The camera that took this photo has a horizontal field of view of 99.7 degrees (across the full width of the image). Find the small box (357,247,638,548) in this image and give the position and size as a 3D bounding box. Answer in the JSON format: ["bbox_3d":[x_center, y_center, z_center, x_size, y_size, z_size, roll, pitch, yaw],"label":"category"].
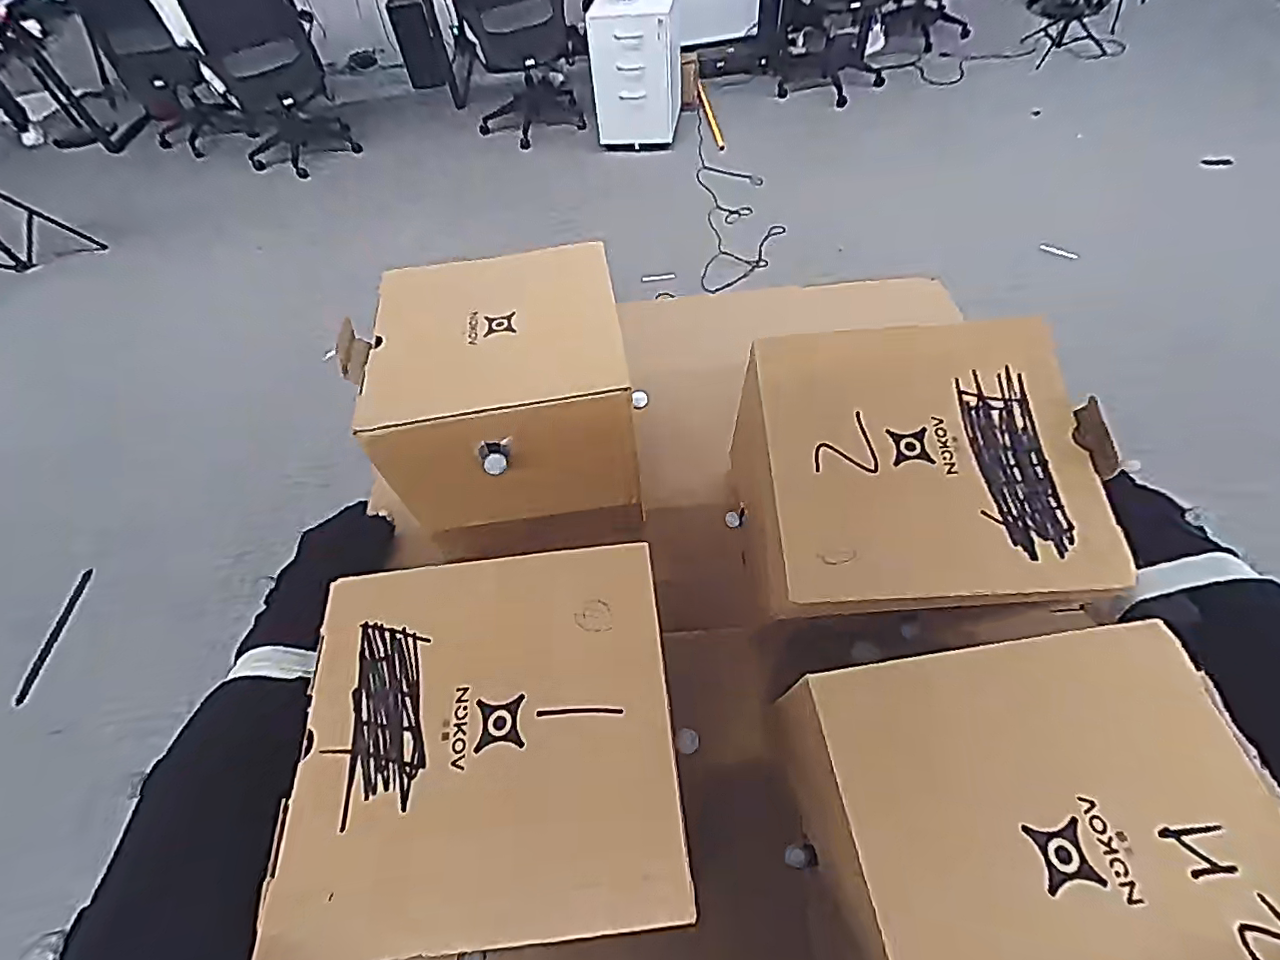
[{"bbox_3d":[-0.099,-0.062,0.453,0.179,0.176,0.168,-10,54,-1],"label":"small box"}]
